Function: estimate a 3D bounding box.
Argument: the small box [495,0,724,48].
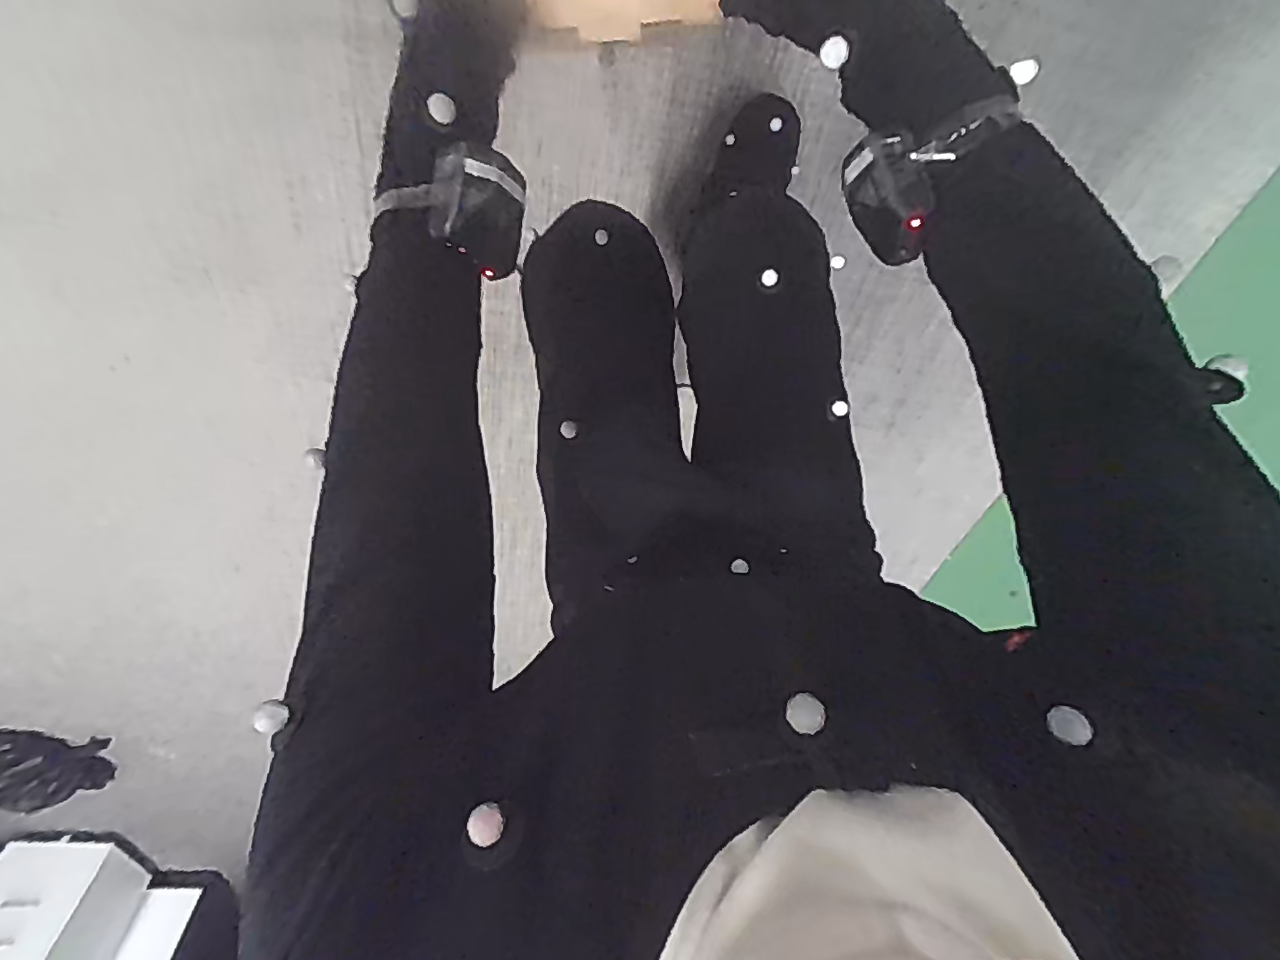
[{"bbox_3d":[-0.029,-0.442,0.405,0.168,0.176,0.179,-6,124,-2],"label":"small box"}]
